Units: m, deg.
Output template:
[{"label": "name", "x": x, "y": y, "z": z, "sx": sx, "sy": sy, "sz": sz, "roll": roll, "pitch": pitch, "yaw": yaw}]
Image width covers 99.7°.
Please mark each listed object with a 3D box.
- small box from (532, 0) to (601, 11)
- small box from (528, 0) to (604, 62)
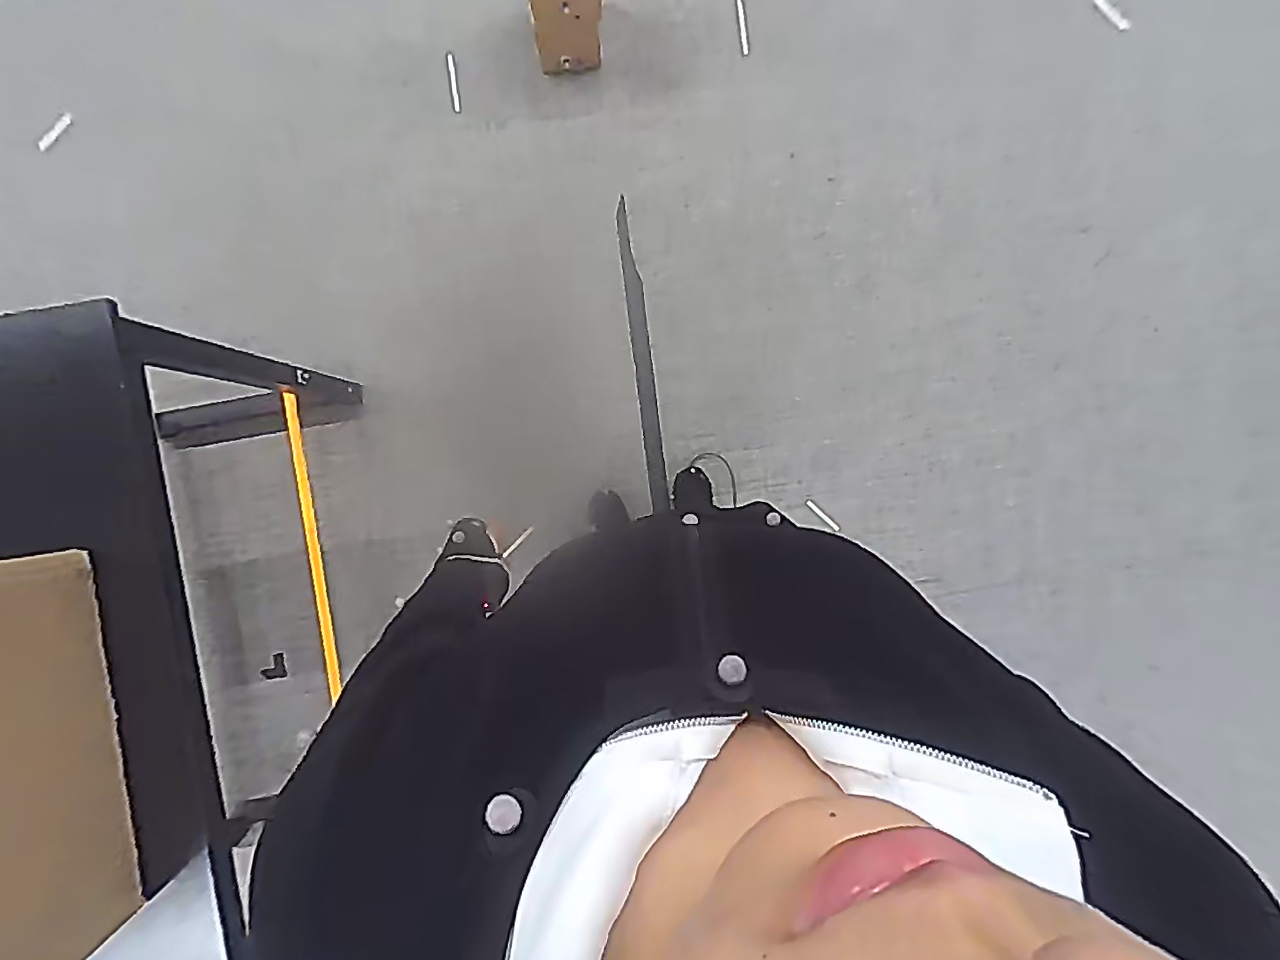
[{"label": "small box", "x": -0.172, "y": -1.150, "z": 1.137, "sx": 0.168, "sy": 0.176, "sz": 0.179, "roll": -8, "pitch": 92, "yaw": 1}, {"label": "small box", "x": -0.183, "y": -1.163, "z": 1.301, "sx": 0.168, "sy": 0.176, "sz": 0.179, "roll": -9, "pitch": 93, "yaw": 0}]
